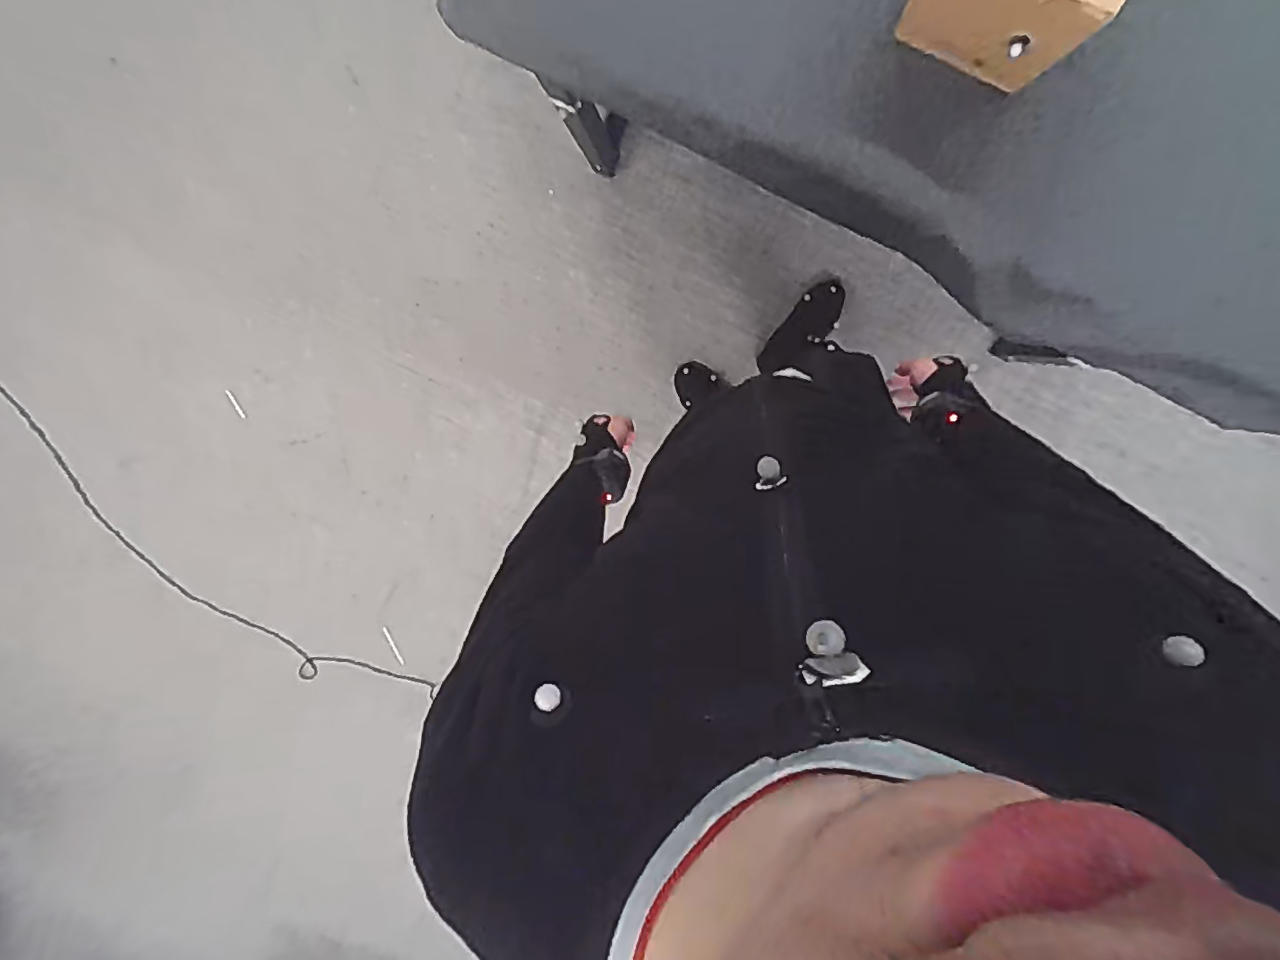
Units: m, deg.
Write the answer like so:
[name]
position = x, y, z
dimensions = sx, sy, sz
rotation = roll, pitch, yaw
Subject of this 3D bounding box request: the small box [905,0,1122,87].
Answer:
[small box]
position = 0.407, -0.556, 0.556
dimensions = 0.168, 0.176, 0.179
rotation = 24, 105, -3
